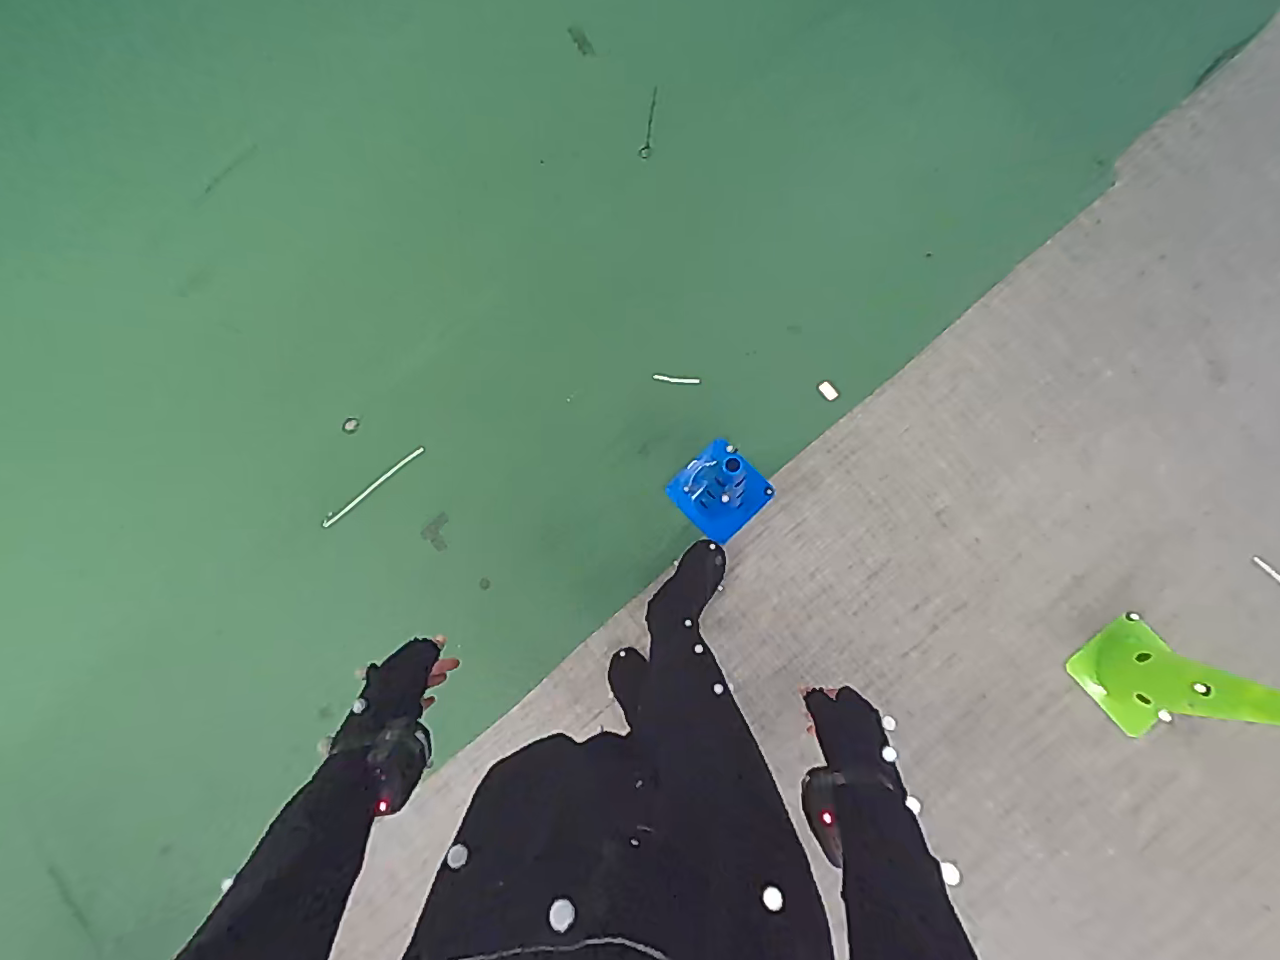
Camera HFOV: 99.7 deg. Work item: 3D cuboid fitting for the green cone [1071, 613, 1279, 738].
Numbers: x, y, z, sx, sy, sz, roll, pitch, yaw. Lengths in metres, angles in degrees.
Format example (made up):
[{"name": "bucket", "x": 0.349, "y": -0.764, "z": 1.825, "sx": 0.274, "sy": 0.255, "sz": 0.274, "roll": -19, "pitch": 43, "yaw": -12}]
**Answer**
[{"name": "green cone", "x": 1.051, "y": 0.393, "z": 0.996, "sx": 0.200, "sy": 0.368, "sz": 0.202, "roll": -41, "pitch": 81, "yaw": -2}]
